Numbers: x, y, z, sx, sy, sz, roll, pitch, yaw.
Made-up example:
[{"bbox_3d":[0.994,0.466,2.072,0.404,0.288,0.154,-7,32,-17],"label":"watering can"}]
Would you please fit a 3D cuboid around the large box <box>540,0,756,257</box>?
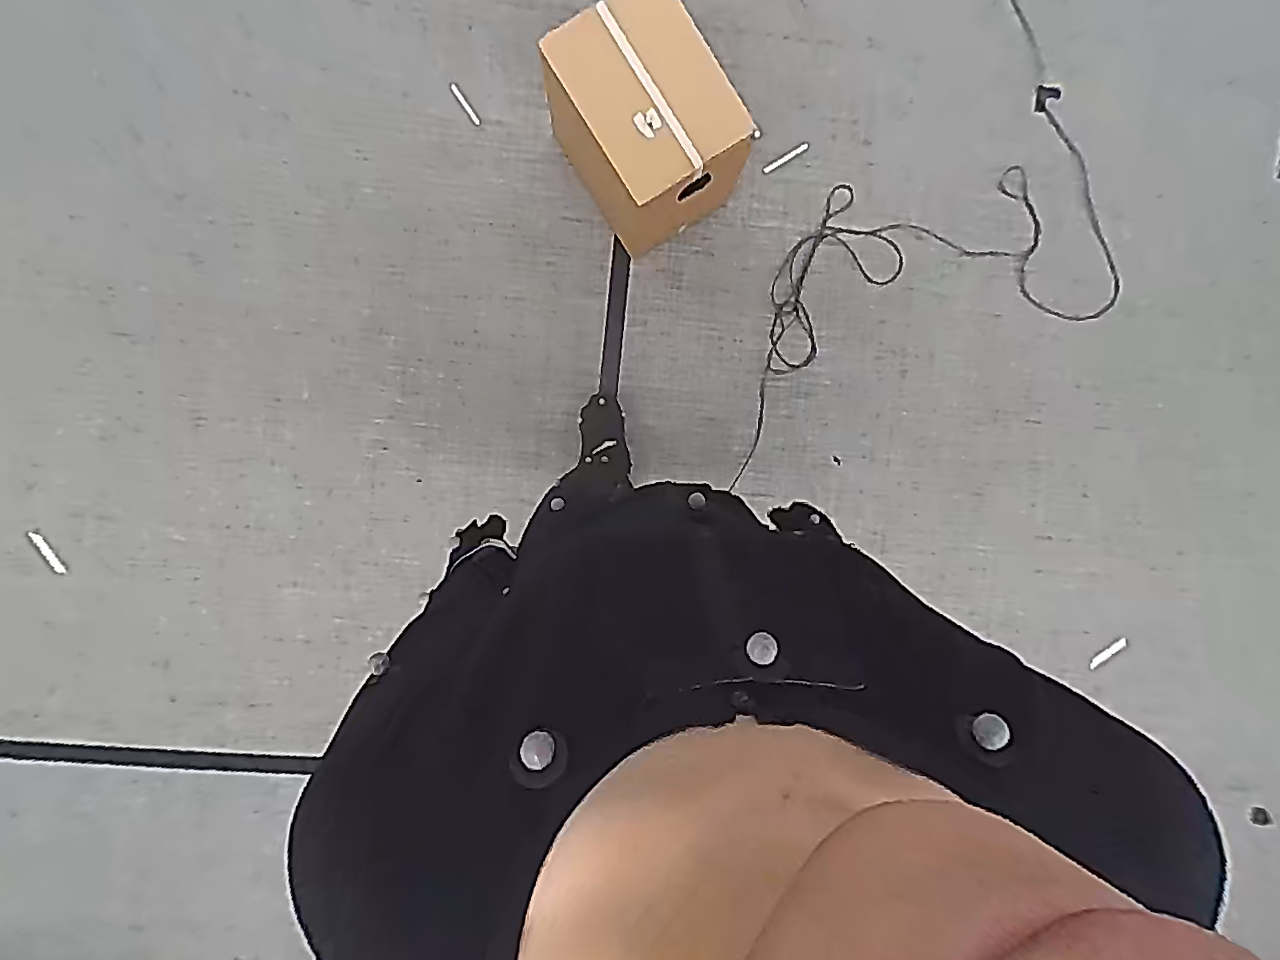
[{"bbox_3d":[0.009,-0.839,1.307,0.320,0.320,0.408,-33,94,-2],"label":"large box"}]
